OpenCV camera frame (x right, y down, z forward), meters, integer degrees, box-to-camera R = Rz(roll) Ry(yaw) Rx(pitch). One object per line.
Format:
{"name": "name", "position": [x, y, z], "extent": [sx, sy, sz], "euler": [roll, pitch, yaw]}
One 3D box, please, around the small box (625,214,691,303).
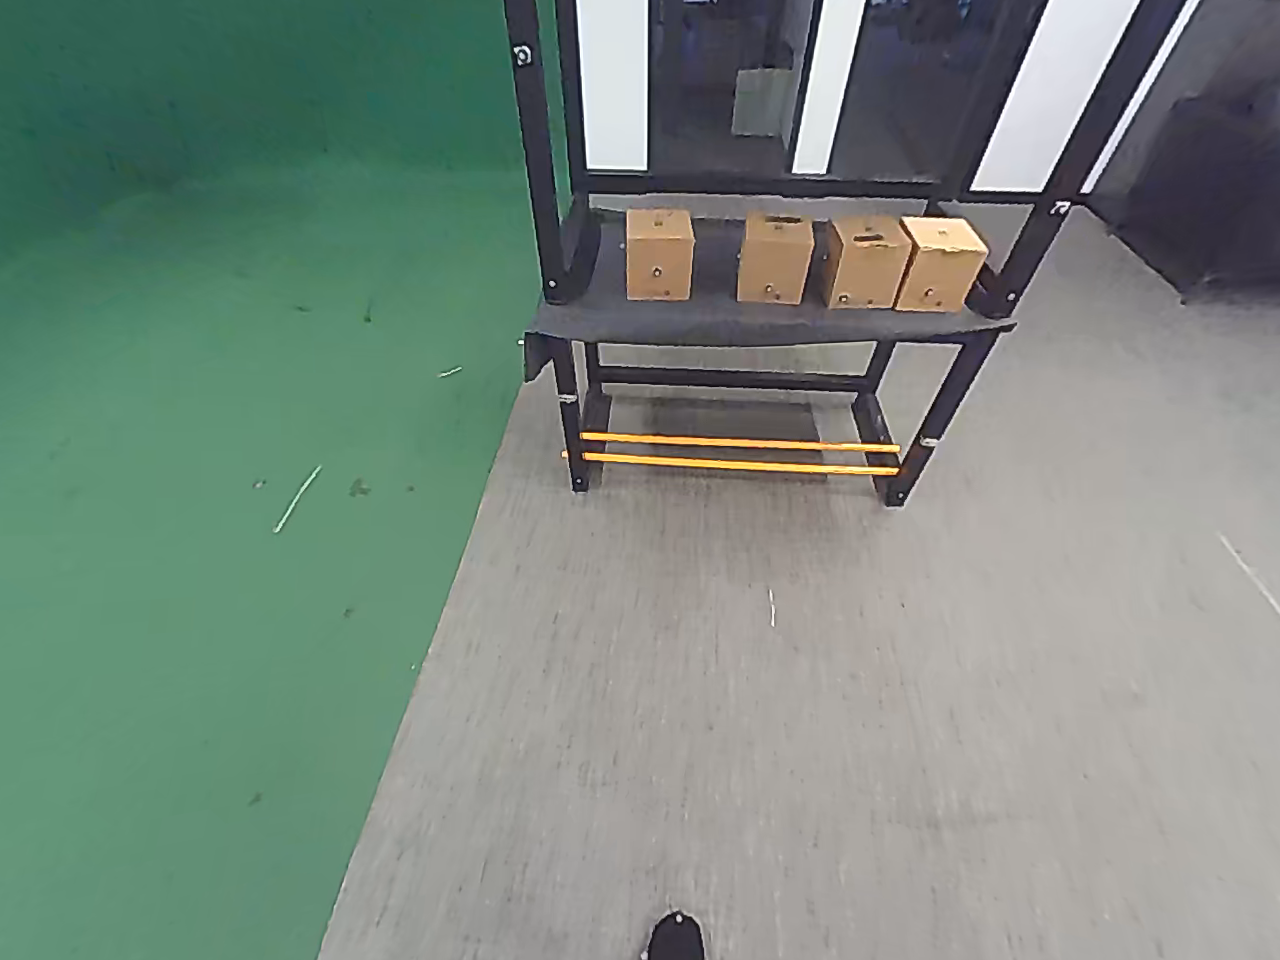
{"name": "small box", "position": [0.046, -0.585, 1.435], "extent": [0.168, 0.176, 0.179], "euler": [0, 47, -1]}
